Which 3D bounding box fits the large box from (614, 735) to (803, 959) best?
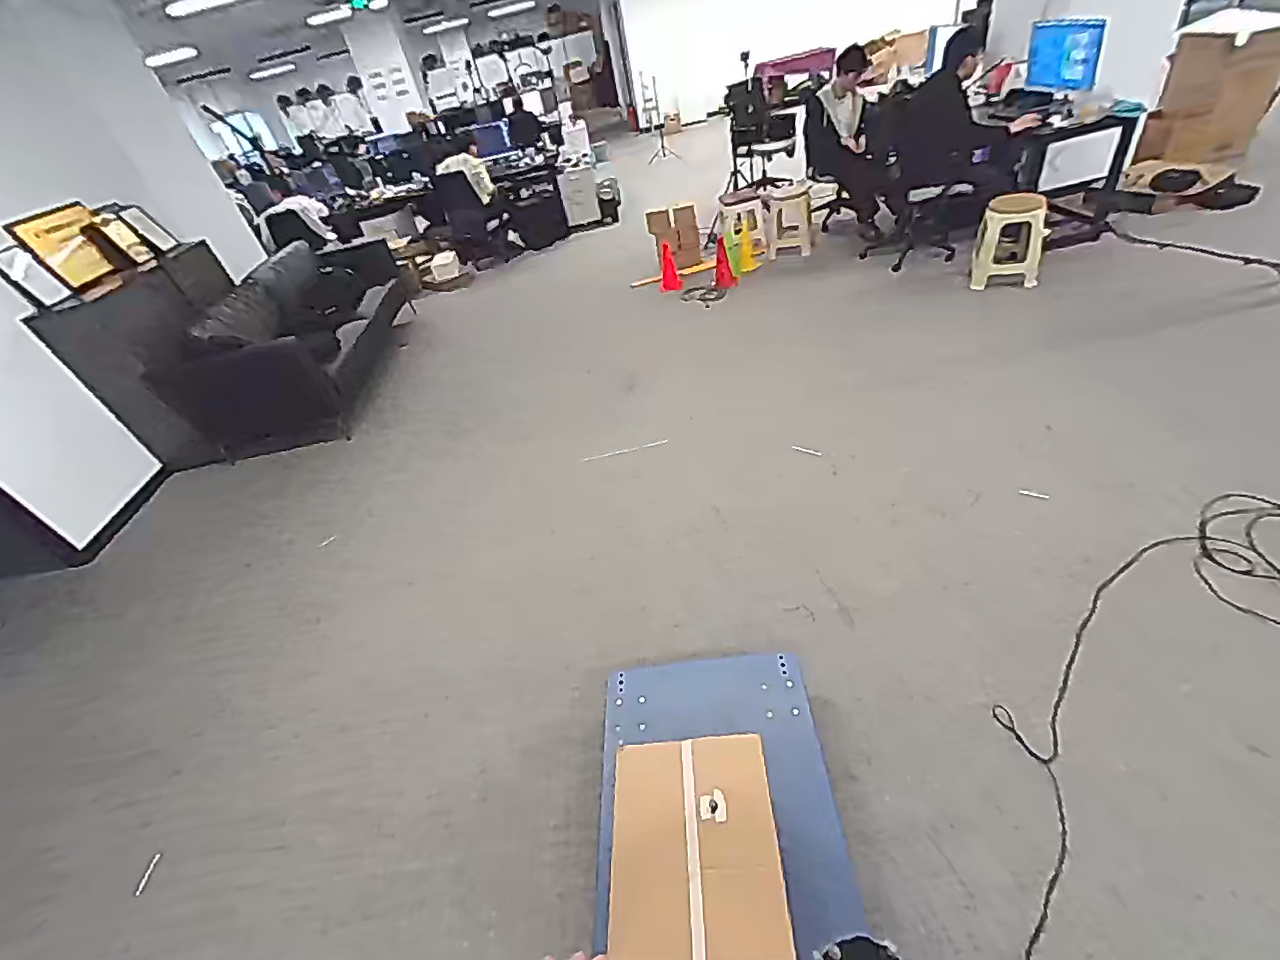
[{"bbox_3d":[0.137,0.803,1.098,0.320,0.320,0.408,-9,37,7],"label":"large box"}]
